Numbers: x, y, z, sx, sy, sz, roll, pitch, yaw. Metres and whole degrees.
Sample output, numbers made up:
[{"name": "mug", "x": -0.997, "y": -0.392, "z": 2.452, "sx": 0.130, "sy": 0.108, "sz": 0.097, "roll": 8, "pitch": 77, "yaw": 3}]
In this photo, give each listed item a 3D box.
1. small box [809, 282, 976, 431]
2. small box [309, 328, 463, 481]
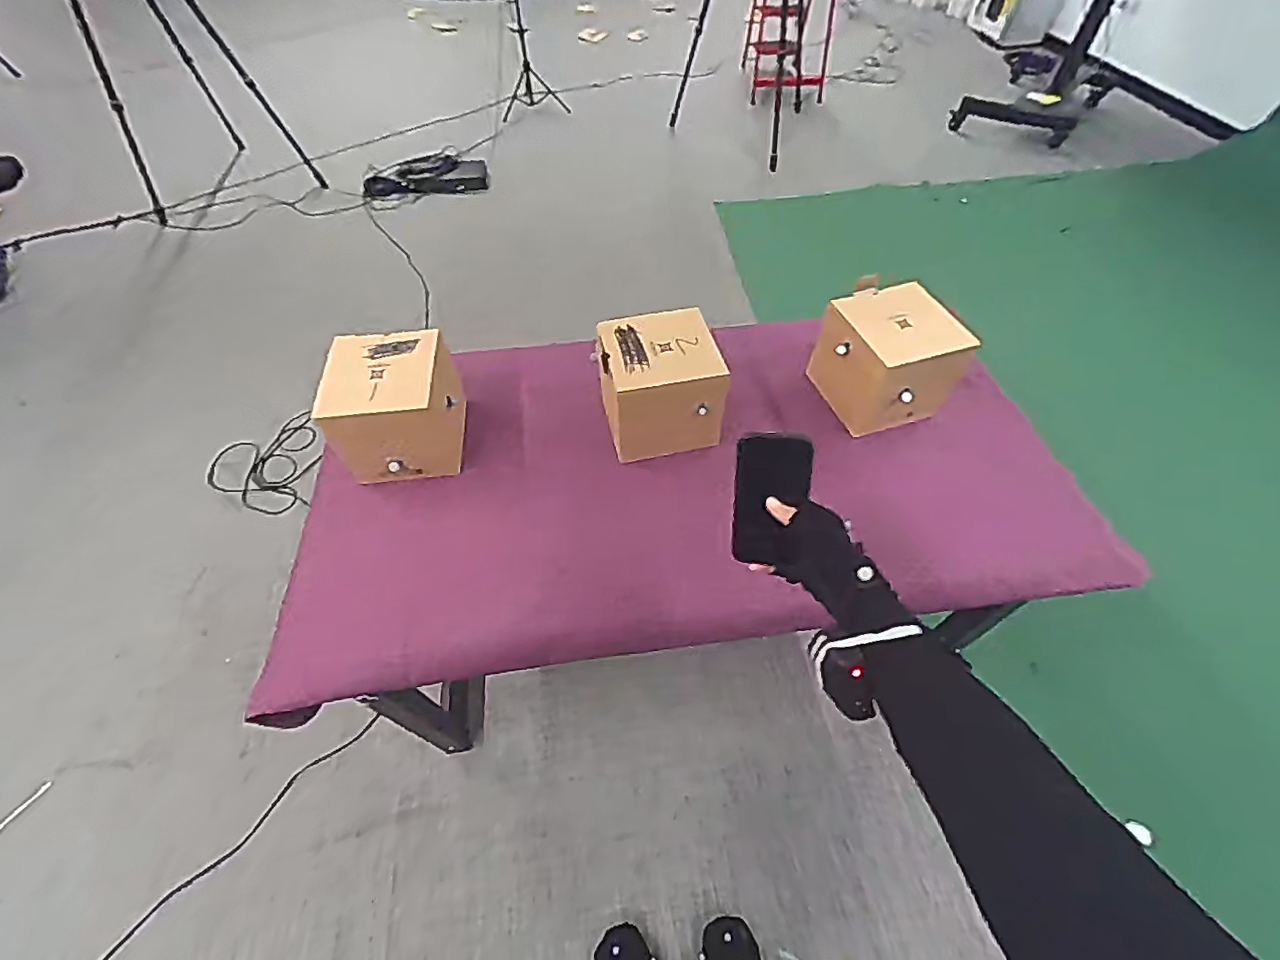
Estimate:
[{"name": "small box", "x": 0.417, "y": -0.204, "z": 0.927, "sx": 0.168, "sy": 0.176, "sz": 0.179, "roll": -15, "pitch": 55, "yaw": -9}, {"name": "small box", "x": -0.391, "y": -0.119, "z": 0.873, "sx": 0.168, "sy": 0.176, "sz": 0.179, "roll": -6, "pitch": 56, "yaw": -3}]
